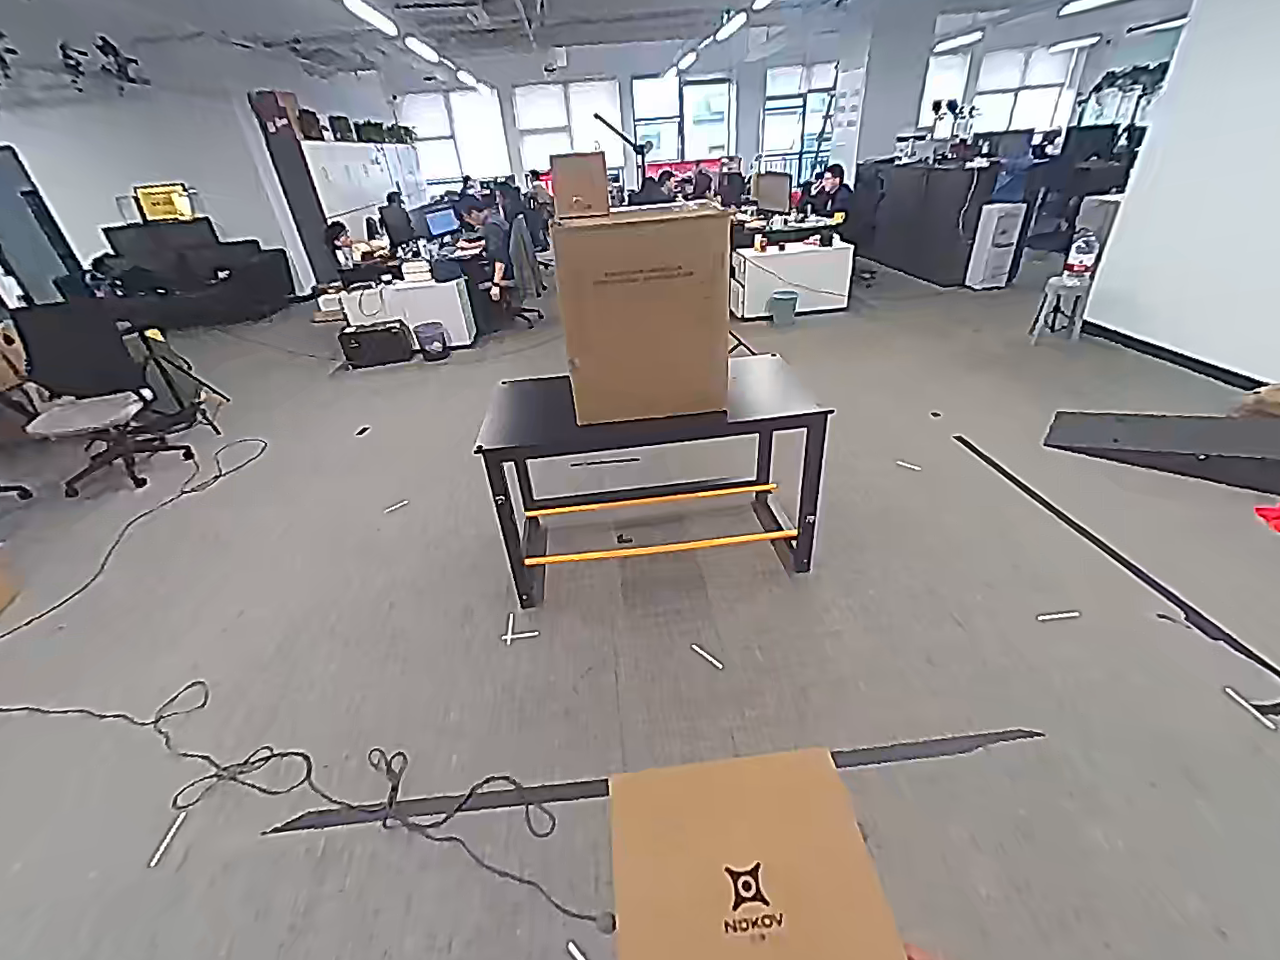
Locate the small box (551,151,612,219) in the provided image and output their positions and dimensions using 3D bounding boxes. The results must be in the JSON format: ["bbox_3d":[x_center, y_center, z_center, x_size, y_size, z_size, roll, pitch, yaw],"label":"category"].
[{"bbox_3d":[-0.176,-0.901,1.655,0.168,0.176,0.179,-6,31,-2],"label":"small box"}]

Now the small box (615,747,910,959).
[{"bbox_3d":[0.073,0.320,0.377,0.168,0.176,0.179,-7,38,-1],"label":"small box"}]
